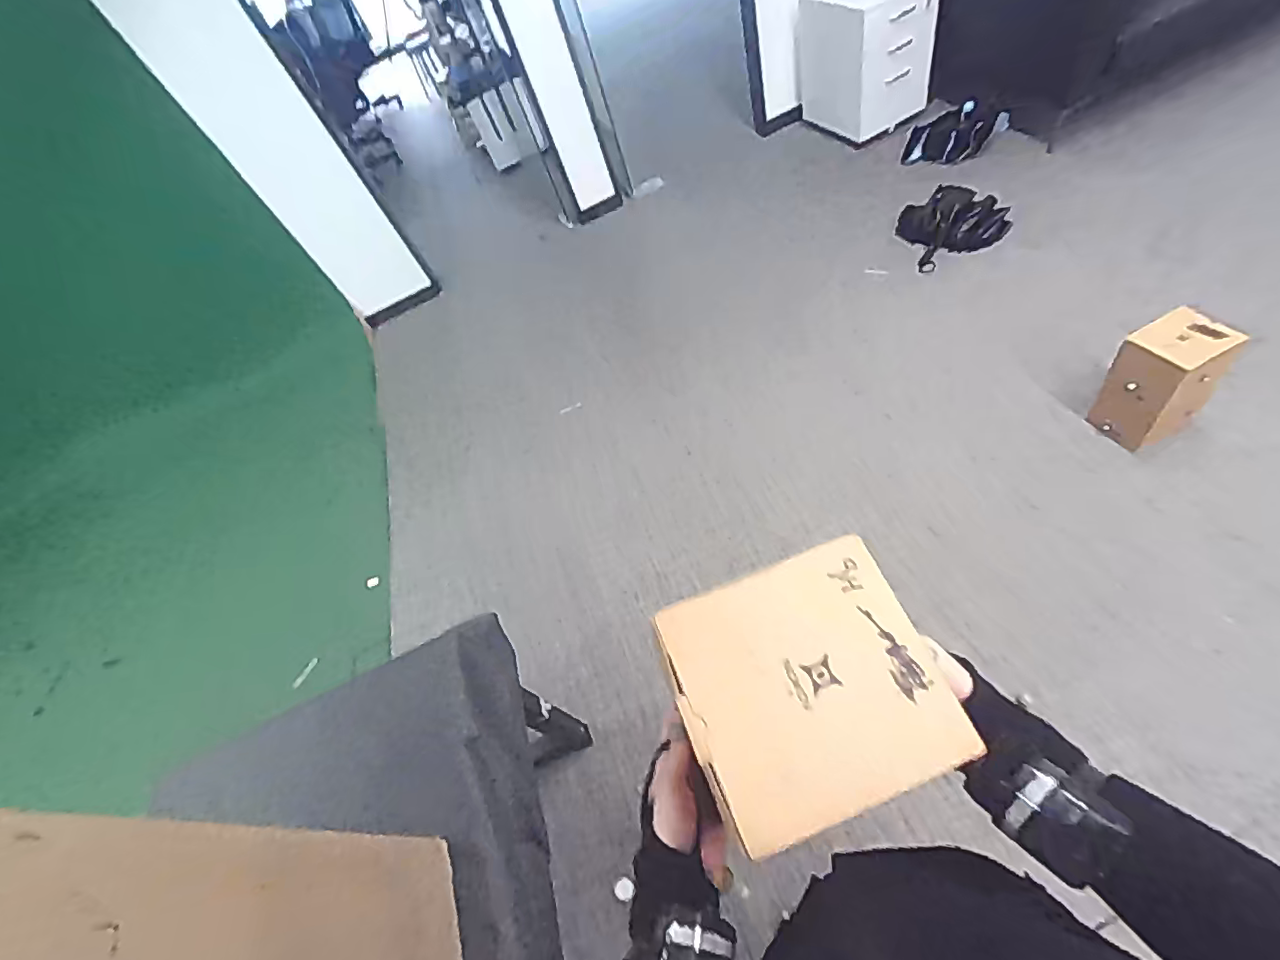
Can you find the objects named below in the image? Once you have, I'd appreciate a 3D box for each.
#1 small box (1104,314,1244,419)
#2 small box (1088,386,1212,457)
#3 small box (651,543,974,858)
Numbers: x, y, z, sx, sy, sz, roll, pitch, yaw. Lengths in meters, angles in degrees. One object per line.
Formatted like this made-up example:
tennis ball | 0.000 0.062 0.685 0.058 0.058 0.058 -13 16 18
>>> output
small box | 1.380 -0.294 1.415 0.179 0.176 0.168 -29 49 -1
small box | 1.435 -0.200 1.538 0.179 0.176 0.168 -29 48 0
small box | 0.121 0.180 0.455 0.179 0.176 0.168 -21 65 -6
